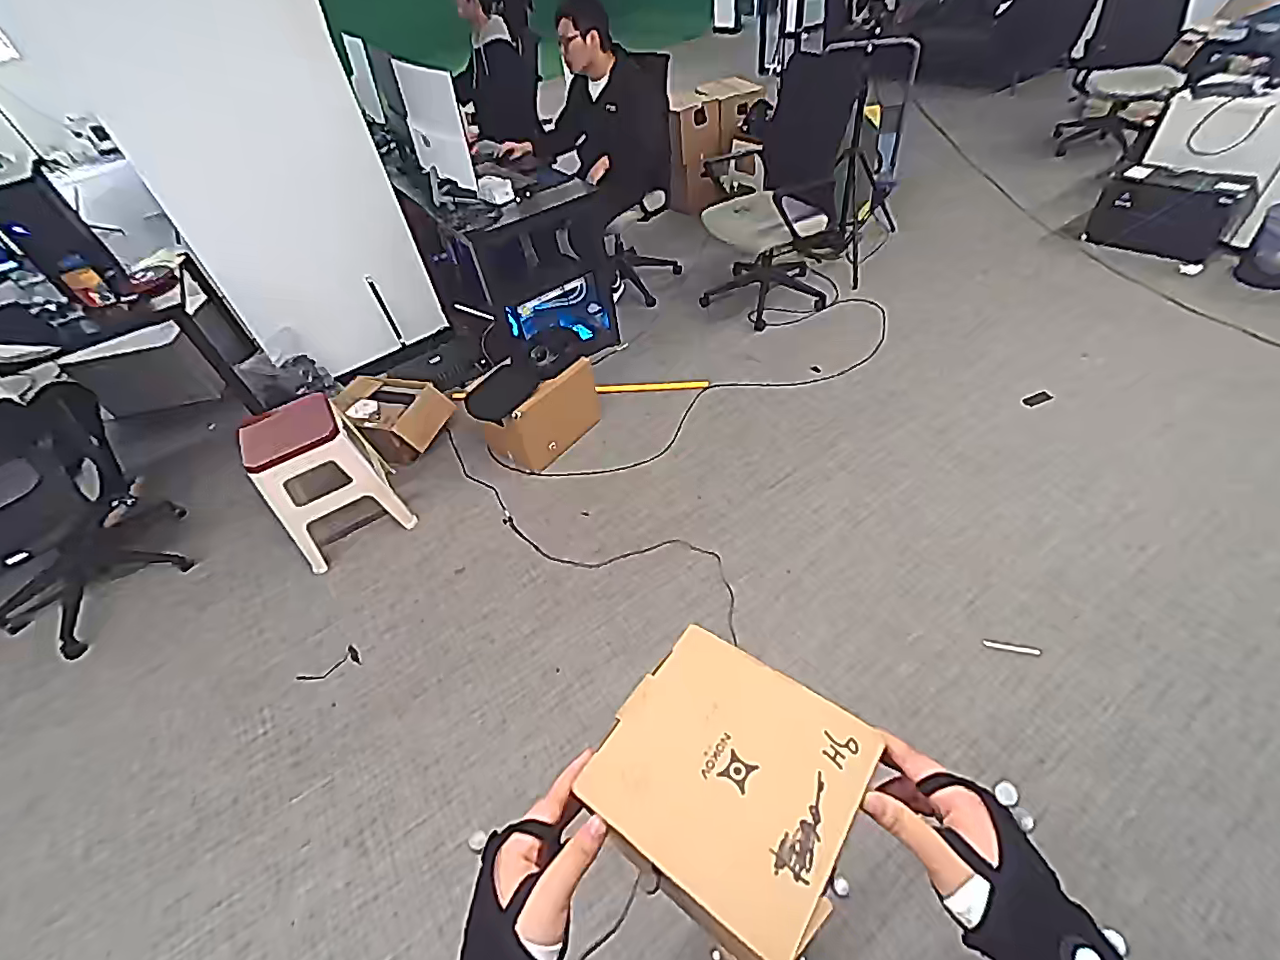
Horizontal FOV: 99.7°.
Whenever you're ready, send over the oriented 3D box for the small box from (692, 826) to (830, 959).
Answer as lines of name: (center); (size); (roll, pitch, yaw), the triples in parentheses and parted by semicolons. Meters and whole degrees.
small box: (0.215, 0.779, 0.979); (0.179, 0.176, 0.168); (-35, 52, -24)
